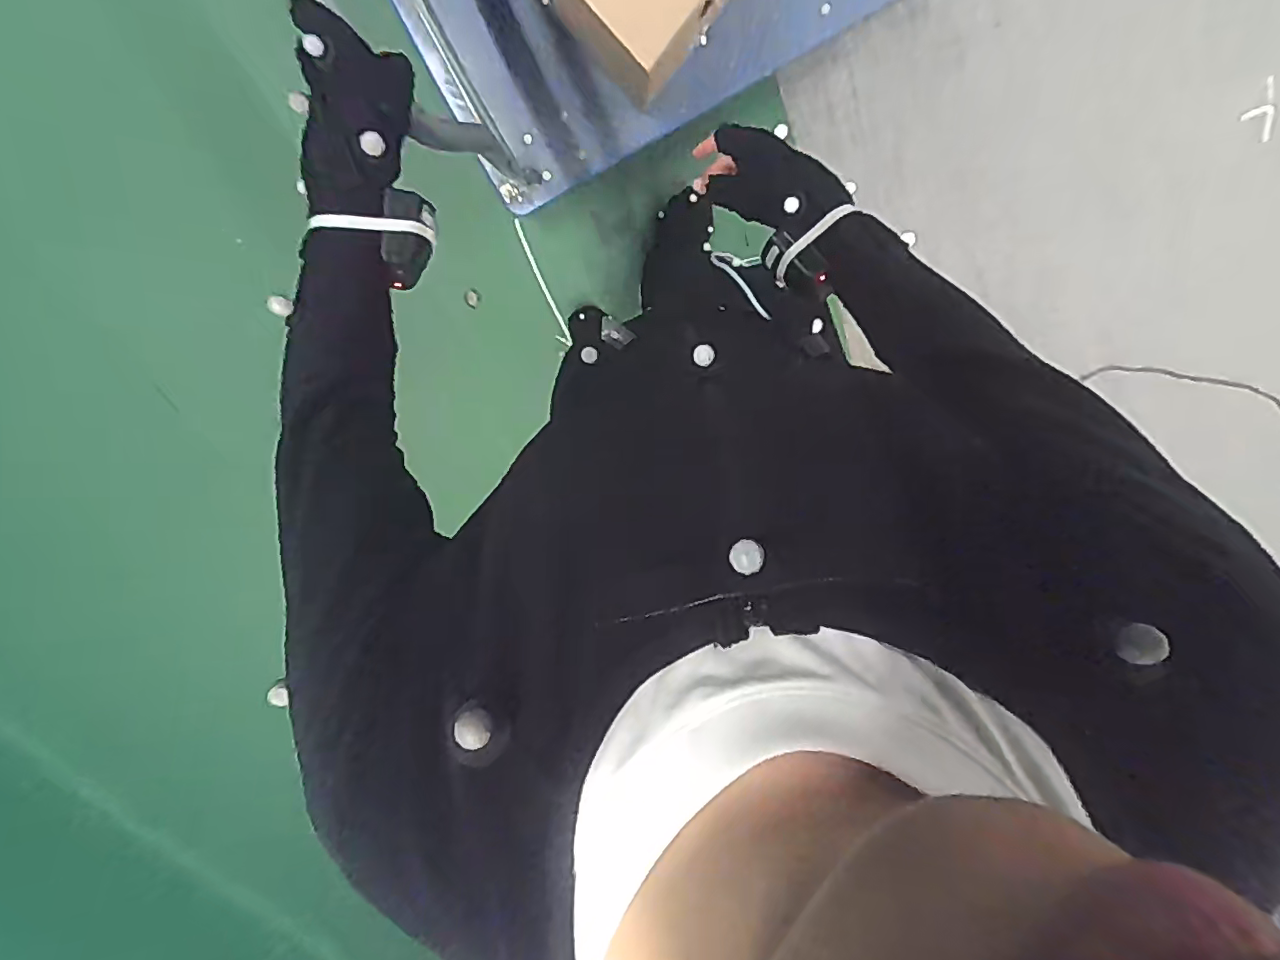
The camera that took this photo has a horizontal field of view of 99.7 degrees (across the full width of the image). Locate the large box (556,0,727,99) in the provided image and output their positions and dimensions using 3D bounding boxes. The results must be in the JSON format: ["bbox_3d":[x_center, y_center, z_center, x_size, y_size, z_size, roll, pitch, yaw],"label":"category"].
[{"bbox_3d":[-0.028,-0.864,0.779,0.408,0.320,0.320,41,109,-17],"label":"large box"}]
